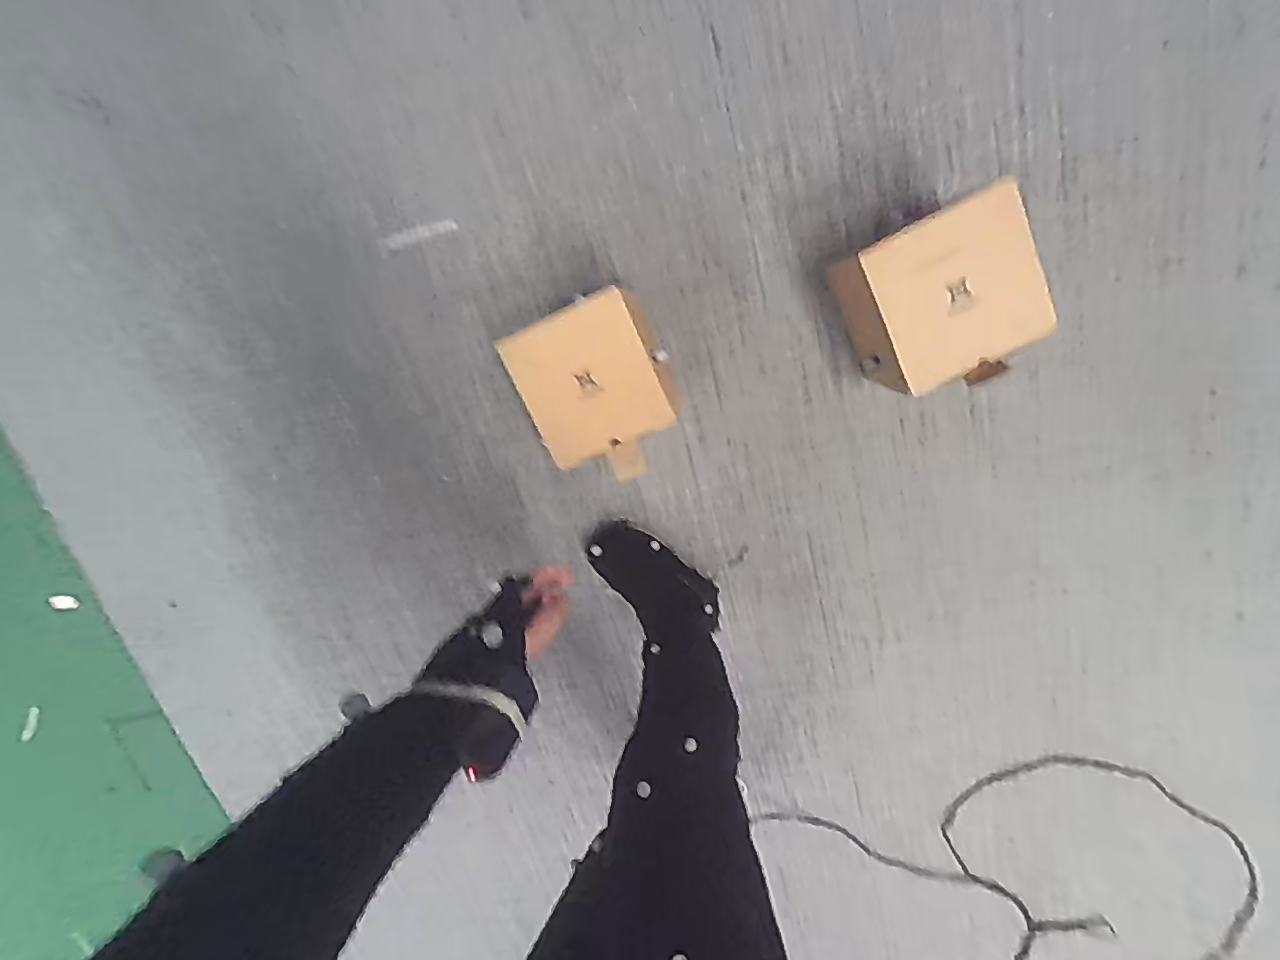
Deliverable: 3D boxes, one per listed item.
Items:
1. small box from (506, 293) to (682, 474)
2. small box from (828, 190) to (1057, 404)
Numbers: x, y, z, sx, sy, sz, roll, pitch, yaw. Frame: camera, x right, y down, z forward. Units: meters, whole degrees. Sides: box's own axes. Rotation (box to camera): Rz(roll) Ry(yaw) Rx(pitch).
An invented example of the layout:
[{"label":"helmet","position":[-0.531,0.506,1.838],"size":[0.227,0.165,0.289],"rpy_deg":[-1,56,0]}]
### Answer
[{"label":"small box","position":[-0.051,-0.135,0.735],"size":[0.168,0.176,0.179],"rpy_deg":[-22,104,12]},{"label":"small box","position":[0.356,-0.217,0.667],"size":[0.168,0.176,0.179],"rpy_deg":[-26,102,12]}]
